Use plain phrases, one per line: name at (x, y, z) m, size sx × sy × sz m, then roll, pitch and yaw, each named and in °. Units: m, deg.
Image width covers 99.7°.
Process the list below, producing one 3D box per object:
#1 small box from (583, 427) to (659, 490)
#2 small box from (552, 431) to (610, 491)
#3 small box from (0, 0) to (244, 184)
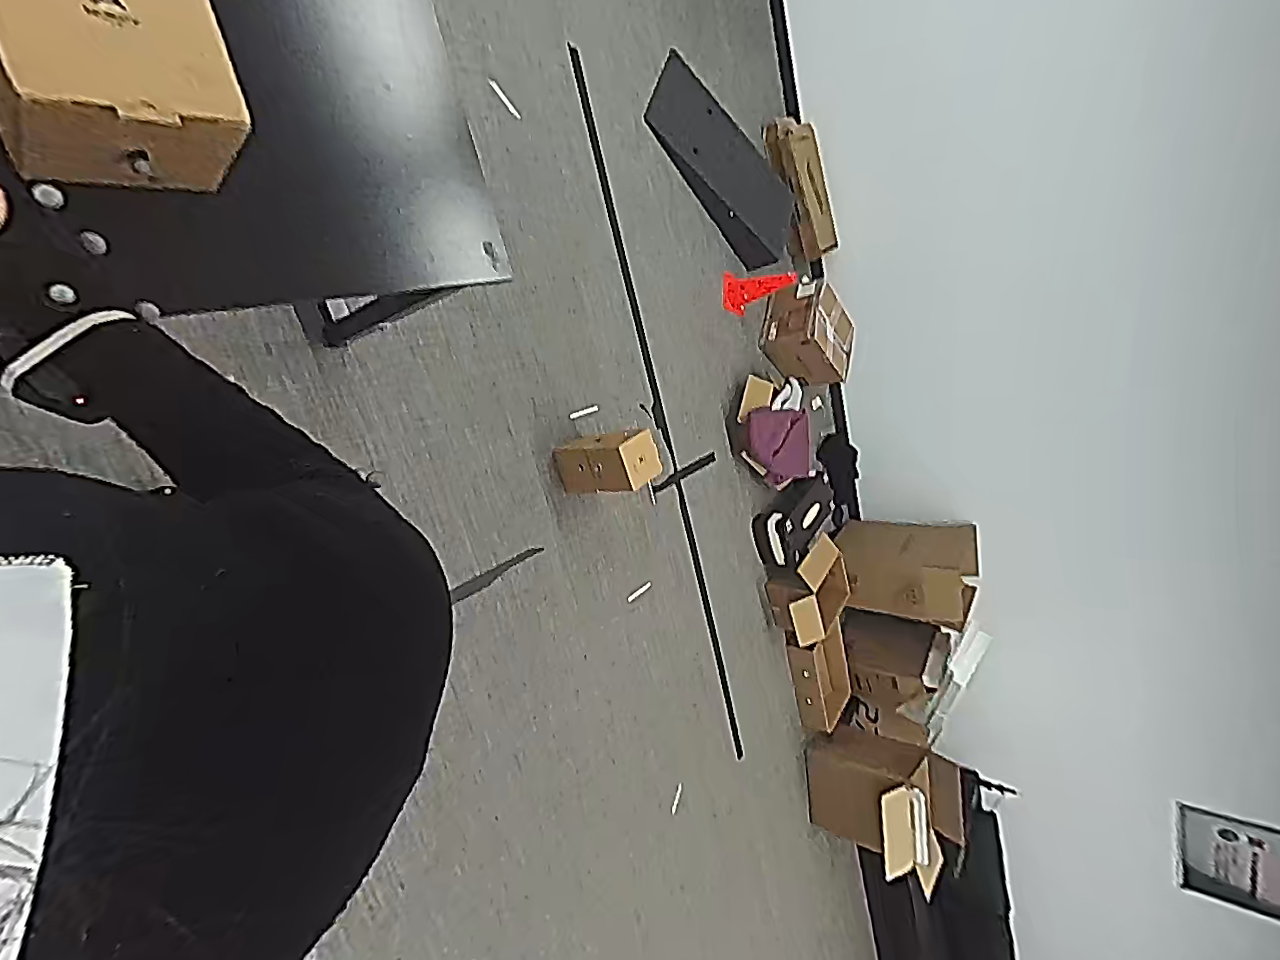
small box at (-0.066, -0.074, 1.880) m, size 0.179 × 0.176 × 0.168 m, roll -36°, pitch 114°, yaw -42°
small box at (-0.195, -0.067, 1.980) m, size 0.168 × 0.176 × 0.179 m, roll -32°, pitch 113°, yaw -44°
small box at (-0.522, -0.409, 0.520) m, size 0.168 × 0.176 × 0.179 m, roll -26°, pitch 108°, yaw -45°
